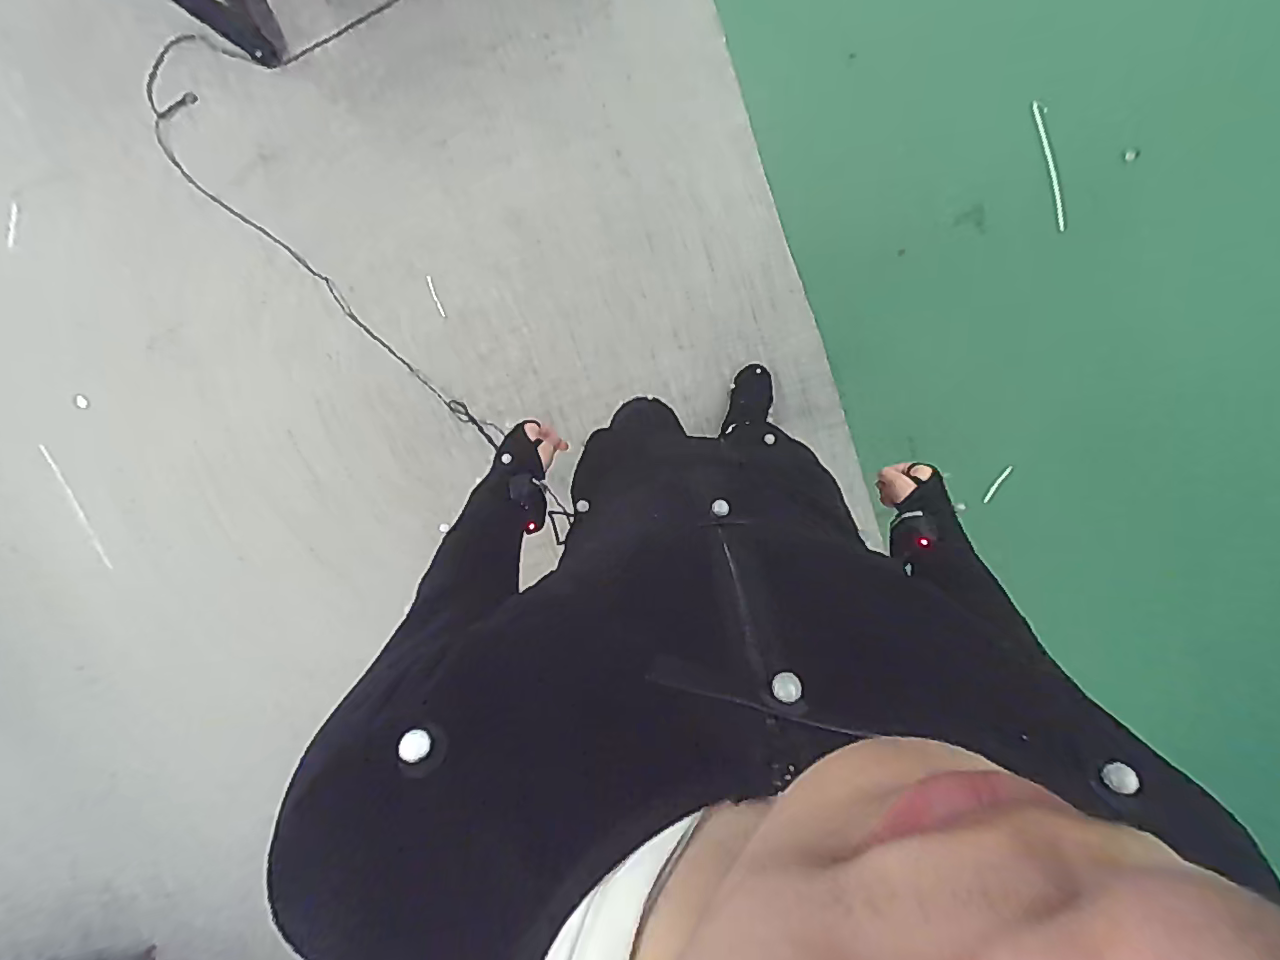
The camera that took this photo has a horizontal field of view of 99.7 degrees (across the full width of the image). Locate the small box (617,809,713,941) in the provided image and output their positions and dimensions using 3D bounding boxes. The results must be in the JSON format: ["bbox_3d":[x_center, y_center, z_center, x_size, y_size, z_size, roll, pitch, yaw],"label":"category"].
[{"bbox_3d":[0.060,0.921,1.282,0.168,0.176,0.179,-26,97,9],"label":"small box"}]
